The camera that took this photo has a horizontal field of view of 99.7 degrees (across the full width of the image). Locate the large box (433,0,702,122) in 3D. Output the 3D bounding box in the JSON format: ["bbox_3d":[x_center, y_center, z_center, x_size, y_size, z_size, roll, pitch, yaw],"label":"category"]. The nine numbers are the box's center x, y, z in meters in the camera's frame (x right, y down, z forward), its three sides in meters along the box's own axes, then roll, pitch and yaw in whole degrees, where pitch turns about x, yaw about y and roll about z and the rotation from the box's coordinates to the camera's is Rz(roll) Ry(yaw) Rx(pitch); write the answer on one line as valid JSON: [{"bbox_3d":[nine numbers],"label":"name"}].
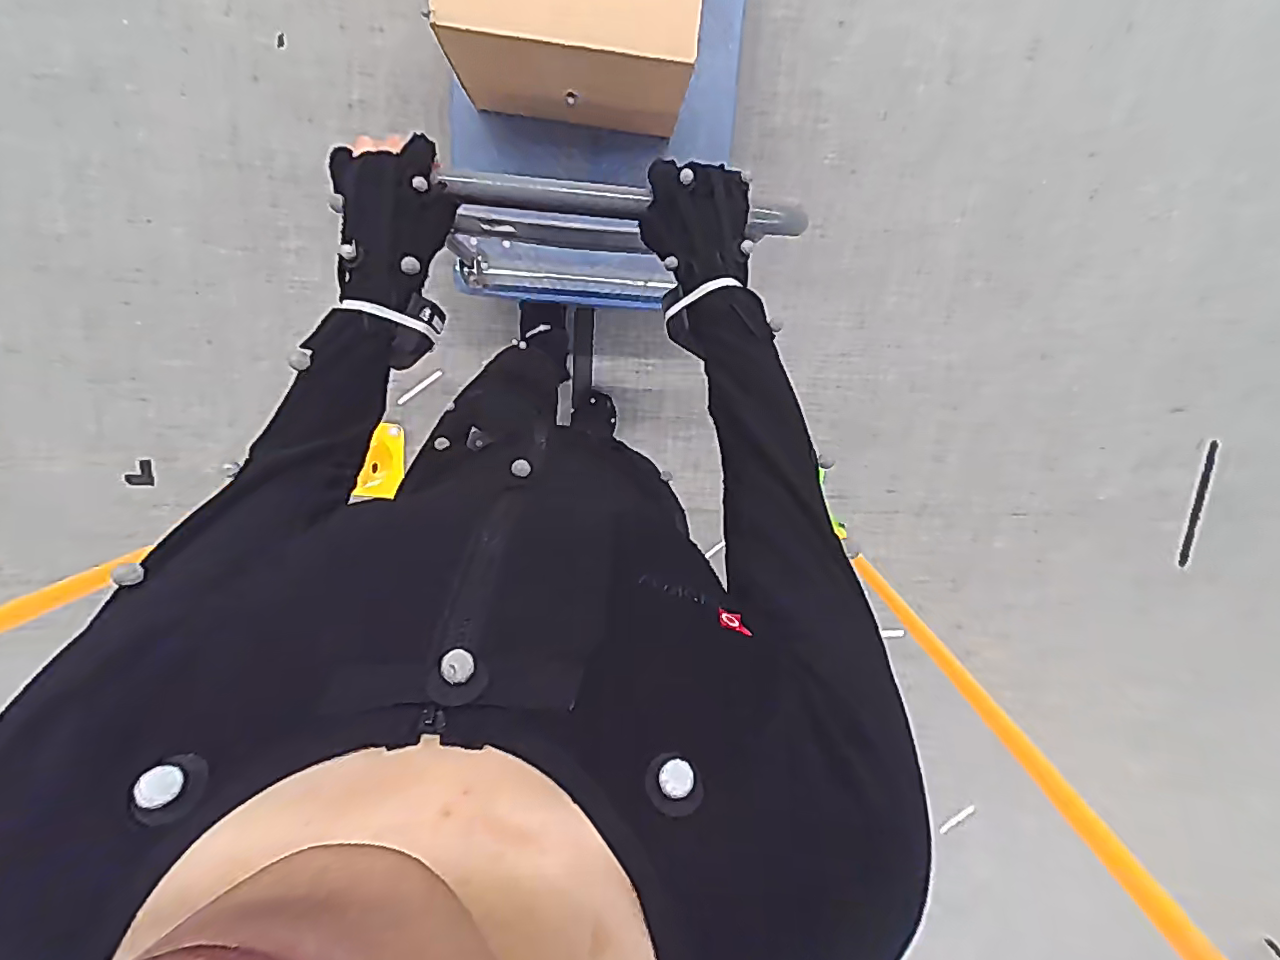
[{"bbox_3d":[-0.104,-0.856,0.923,0.408,0.320,0.320,5,104,-5],"label":"large box"}]
